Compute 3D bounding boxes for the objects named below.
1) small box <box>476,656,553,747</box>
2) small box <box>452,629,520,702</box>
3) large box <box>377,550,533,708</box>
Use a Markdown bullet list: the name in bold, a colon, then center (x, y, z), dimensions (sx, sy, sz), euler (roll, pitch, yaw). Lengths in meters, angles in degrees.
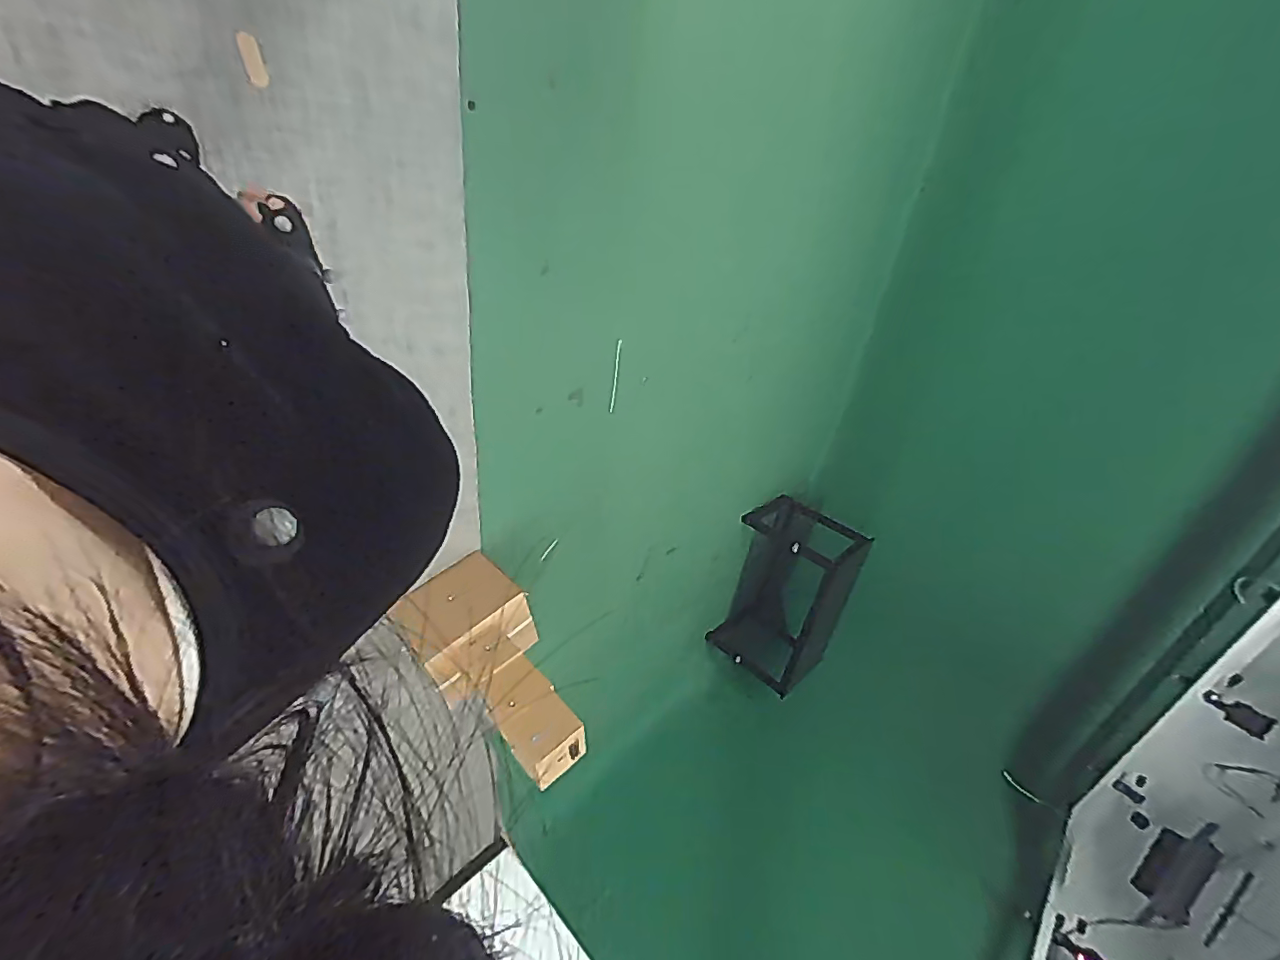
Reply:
- **small box**: center (-0.405, 0.711, 1.754), dimensions (0.179, 0.176, 0.168), euler (-29, 136, -36)
- **small box**: center (-0.518, 0.635, 1.841), dimensions (0.168, 0.176, 0.179), euler (-31, 137, -35)
- **large box**: center (-0.675, 0.541, 2.010), dimensions (0.408, 0.320, 0.320), euler (-37, 142, -32)
